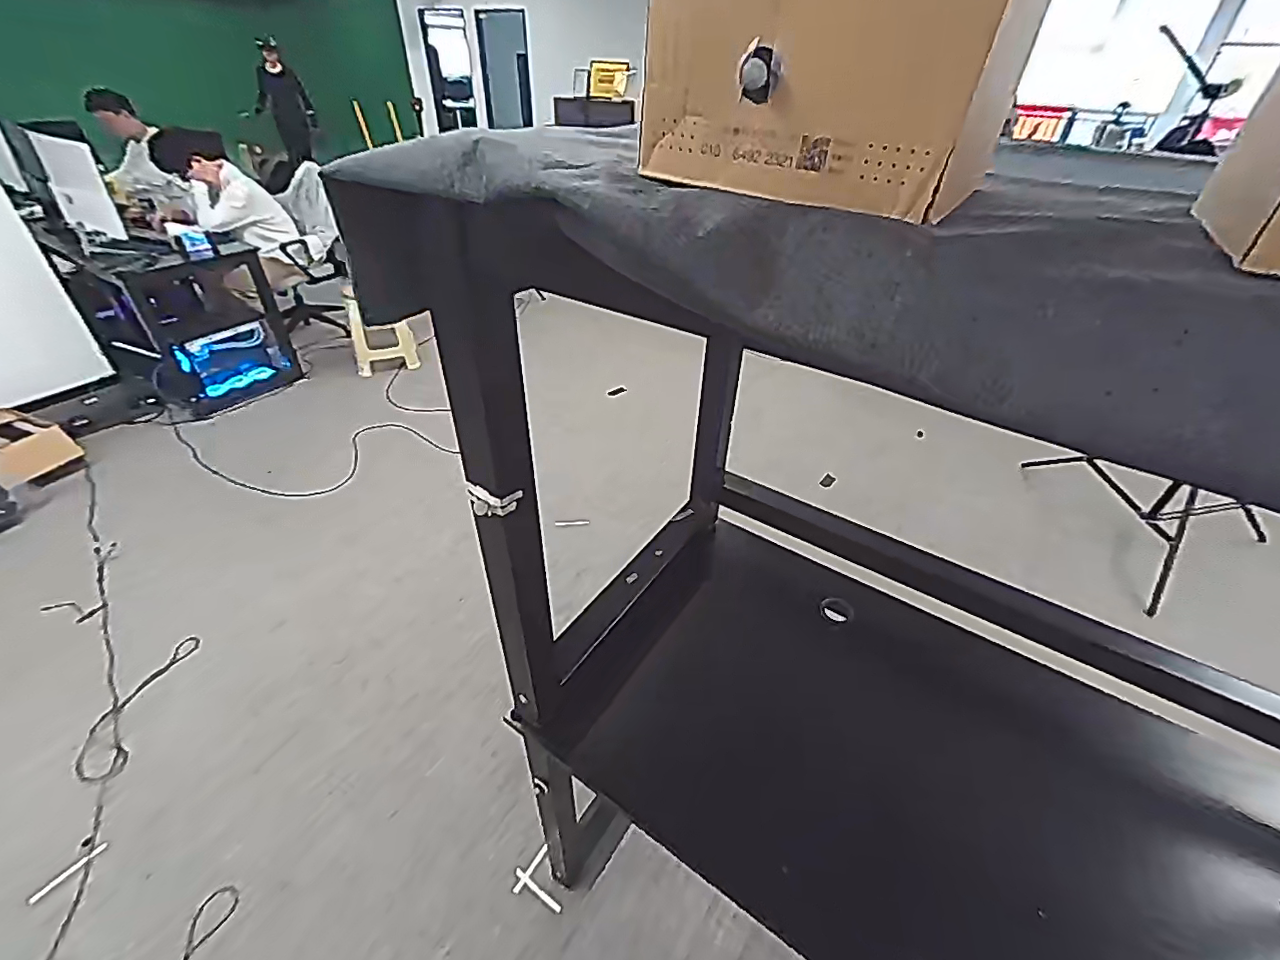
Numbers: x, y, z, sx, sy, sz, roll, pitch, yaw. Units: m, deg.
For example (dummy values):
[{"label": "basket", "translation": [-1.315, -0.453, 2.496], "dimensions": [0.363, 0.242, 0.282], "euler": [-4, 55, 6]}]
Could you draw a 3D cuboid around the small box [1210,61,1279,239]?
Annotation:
[{"label": "small box", "translation": [0.347, -0.163, 0.177], "dimensions": [0.168, 0.176, 0.179], "euler": [24, 41, 27]}]

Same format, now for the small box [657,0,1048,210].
[{"label": "small box", "translation": [0.120, -0.260, 0.293], "dimensions": [0.168, 0.176, 0.179], "euler": [24, 41, 24]}]
